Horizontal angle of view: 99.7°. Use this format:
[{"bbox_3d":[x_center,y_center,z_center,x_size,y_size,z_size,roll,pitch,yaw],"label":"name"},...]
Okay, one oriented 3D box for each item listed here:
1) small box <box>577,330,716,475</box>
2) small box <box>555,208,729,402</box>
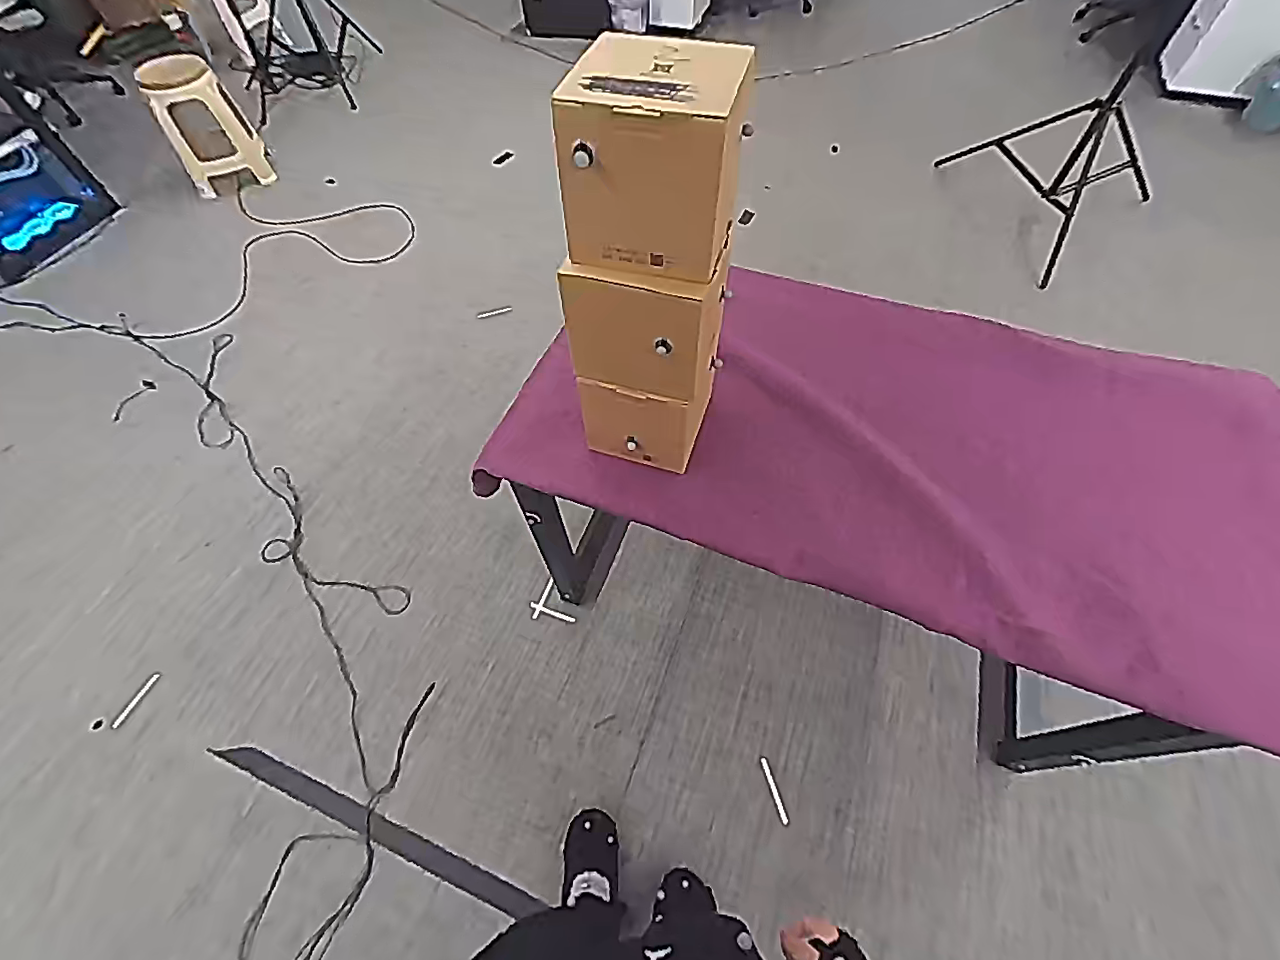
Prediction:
[{"bbox_3d":[0.013,-0.138,0.855,0.168,0.176,0.179,15,59,11],"label":"small box"},{"bbox_3d":[0.009,-0.227,0.720,0.179,0.176,0.168,14,57,11],"label":"small box"}]
